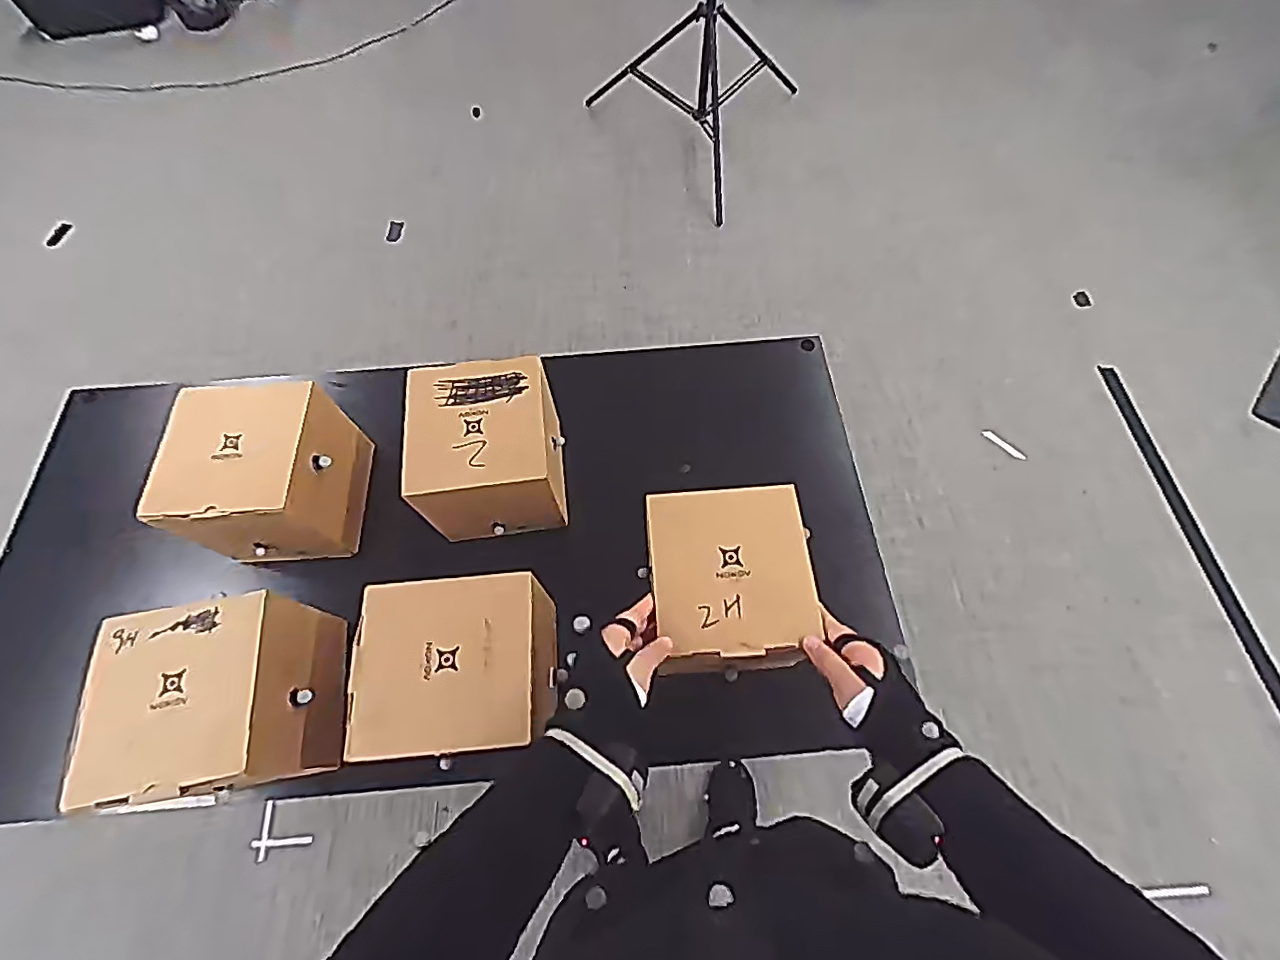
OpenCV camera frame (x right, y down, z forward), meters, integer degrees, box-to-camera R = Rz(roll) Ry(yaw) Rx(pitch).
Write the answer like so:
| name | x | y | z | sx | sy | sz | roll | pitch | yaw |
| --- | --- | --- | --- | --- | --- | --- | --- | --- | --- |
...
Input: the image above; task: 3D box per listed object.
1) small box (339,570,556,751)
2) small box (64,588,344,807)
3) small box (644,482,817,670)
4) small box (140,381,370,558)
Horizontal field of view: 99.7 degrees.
| name | x | y | z | sx | sy | sz | roll | pitch | yaw |
| --- | --- | --- | --- | --- | --- | --- | --- | --- | --- |
| small box | -0.195 | 0.207 | 0.604 | 0.179 | 0.176 | 0.168 | -4 | 65 | -1 |
| small box | -0.451 | 0.235 | 0.596 | 0.168 | 0.176 | 0.179 | -10 | 65 | -3 |
| small box | 0.091 | 0.119 | 0.637 | 0.168 | 0.176 | 0.179 | -4 | 65 | 1 |
| small box | -0.481 | -0.008 | 0.711 | 0.168 | 0.176 | 0.179 | -3 | 66 | -1 |
